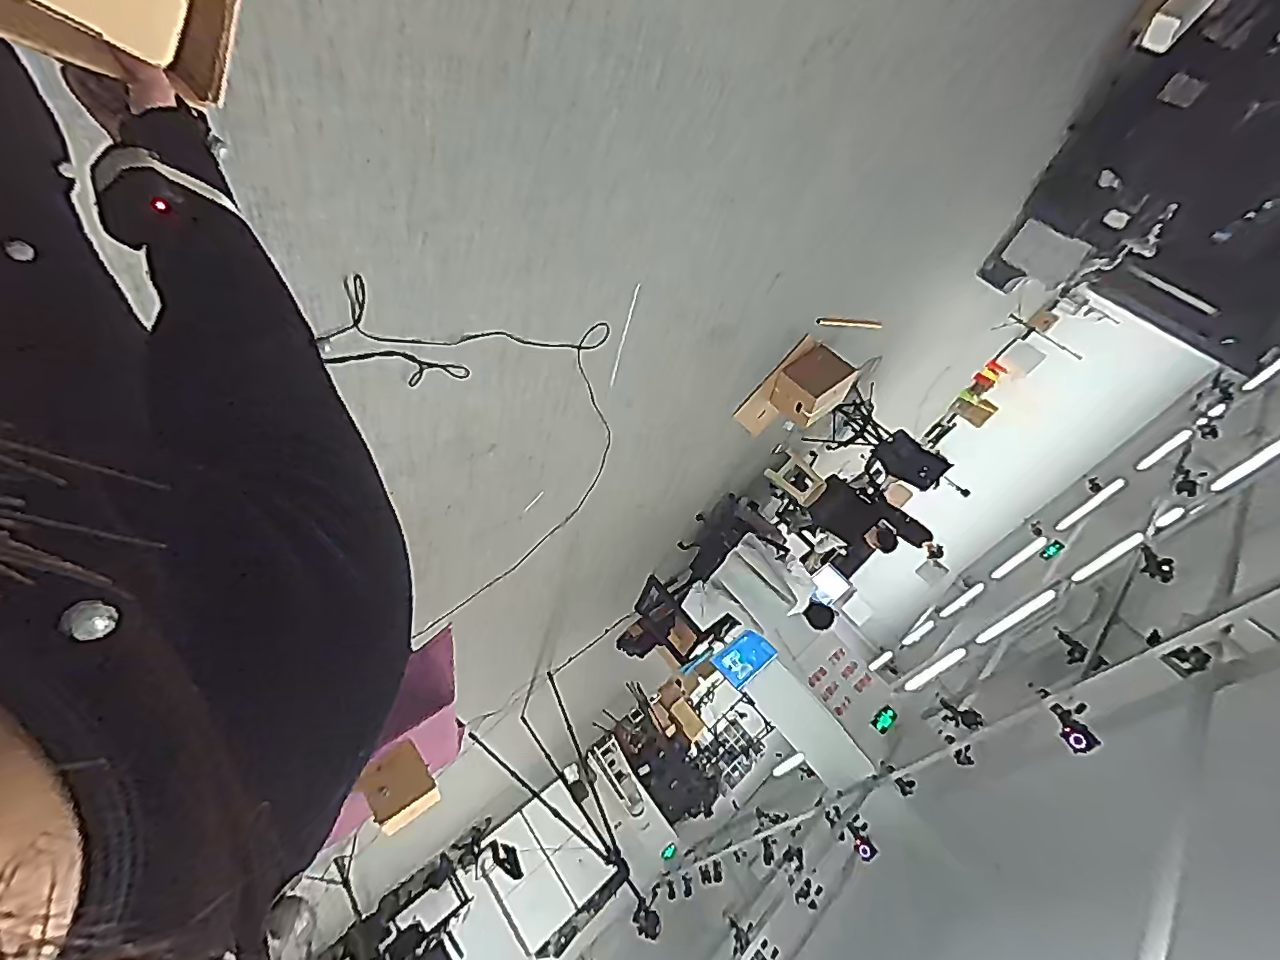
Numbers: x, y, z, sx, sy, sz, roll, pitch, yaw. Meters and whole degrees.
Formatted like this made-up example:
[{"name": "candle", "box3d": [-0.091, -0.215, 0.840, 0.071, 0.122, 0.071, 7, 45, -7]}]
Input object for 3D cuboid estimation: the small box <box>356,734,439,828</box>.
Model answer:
[{"name": "small box", "box3d": [-0.721, 0.888, 1.608, 0.168, 0.176, 0.179, -27, 153, -32]}]
